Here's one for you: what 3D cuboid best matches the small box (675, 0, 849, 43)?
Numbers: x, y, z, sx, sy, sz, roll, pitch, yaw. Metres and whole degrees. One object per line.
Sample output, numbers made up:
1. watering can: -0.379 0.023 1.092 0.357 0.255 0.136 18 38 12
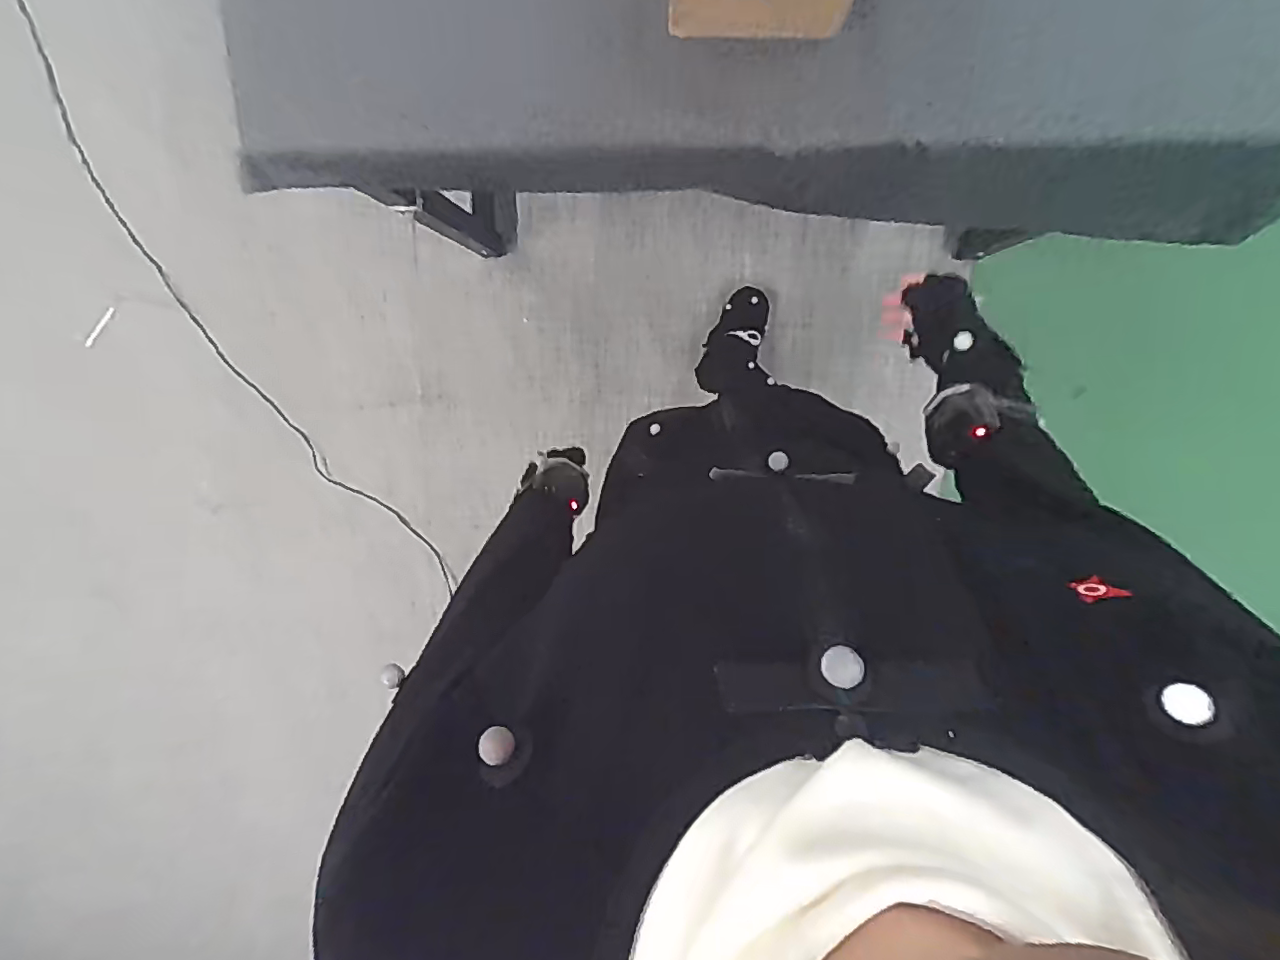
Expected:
1. small box: 0.119 -0.532 0.485 0.179 0.176 0.168 1 100 4
